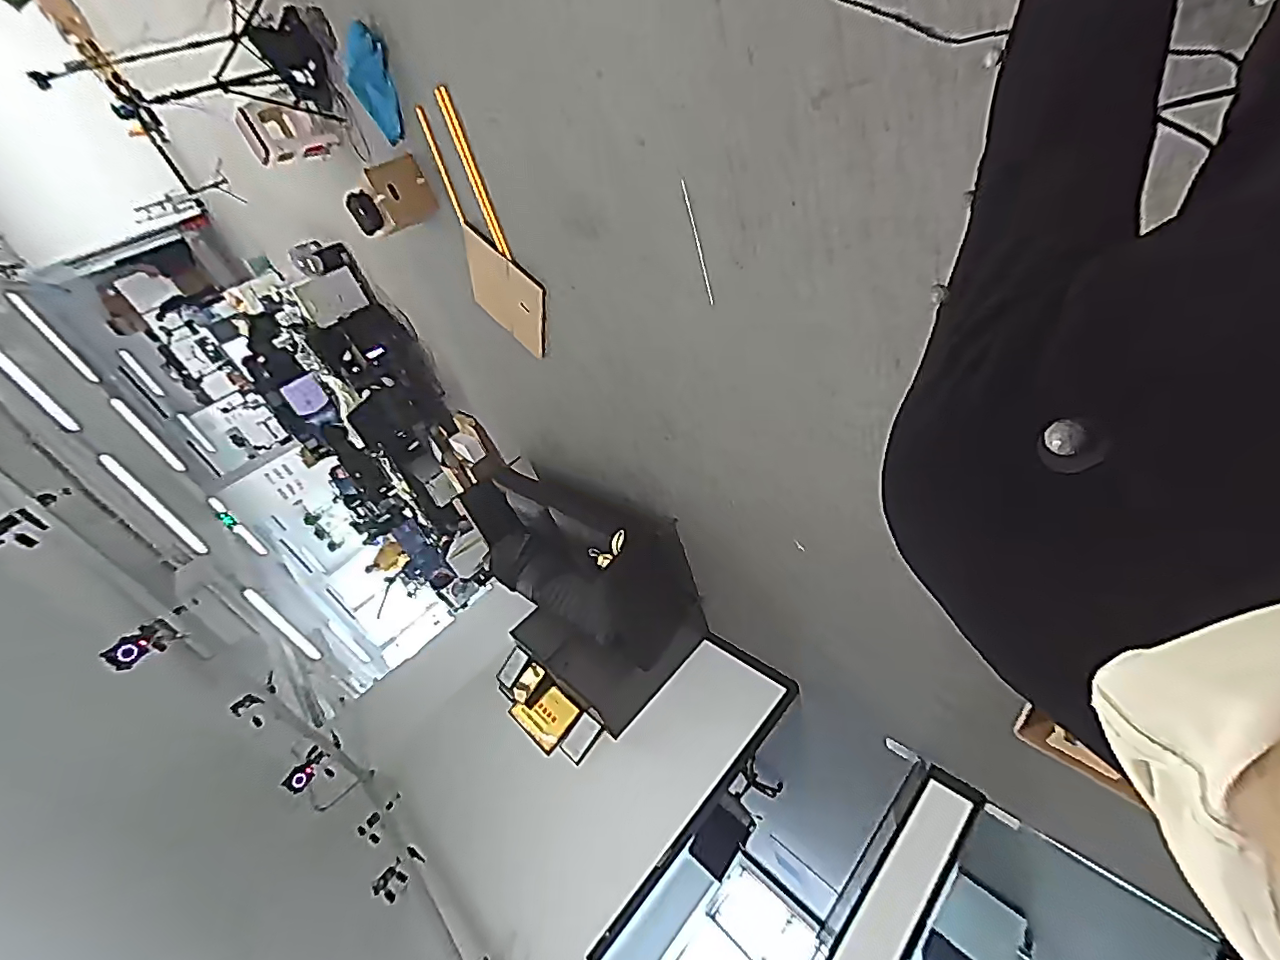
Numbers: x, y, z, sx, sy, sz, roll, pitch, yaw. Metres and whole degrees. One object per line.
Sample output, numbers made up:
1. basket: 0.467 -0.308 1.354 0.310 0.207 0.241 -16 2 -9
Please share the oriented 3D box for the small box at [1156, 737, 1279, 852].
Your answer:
1. small box: 1.517 0.818 1.418 0.179 0.176 0.168 25 146 38
